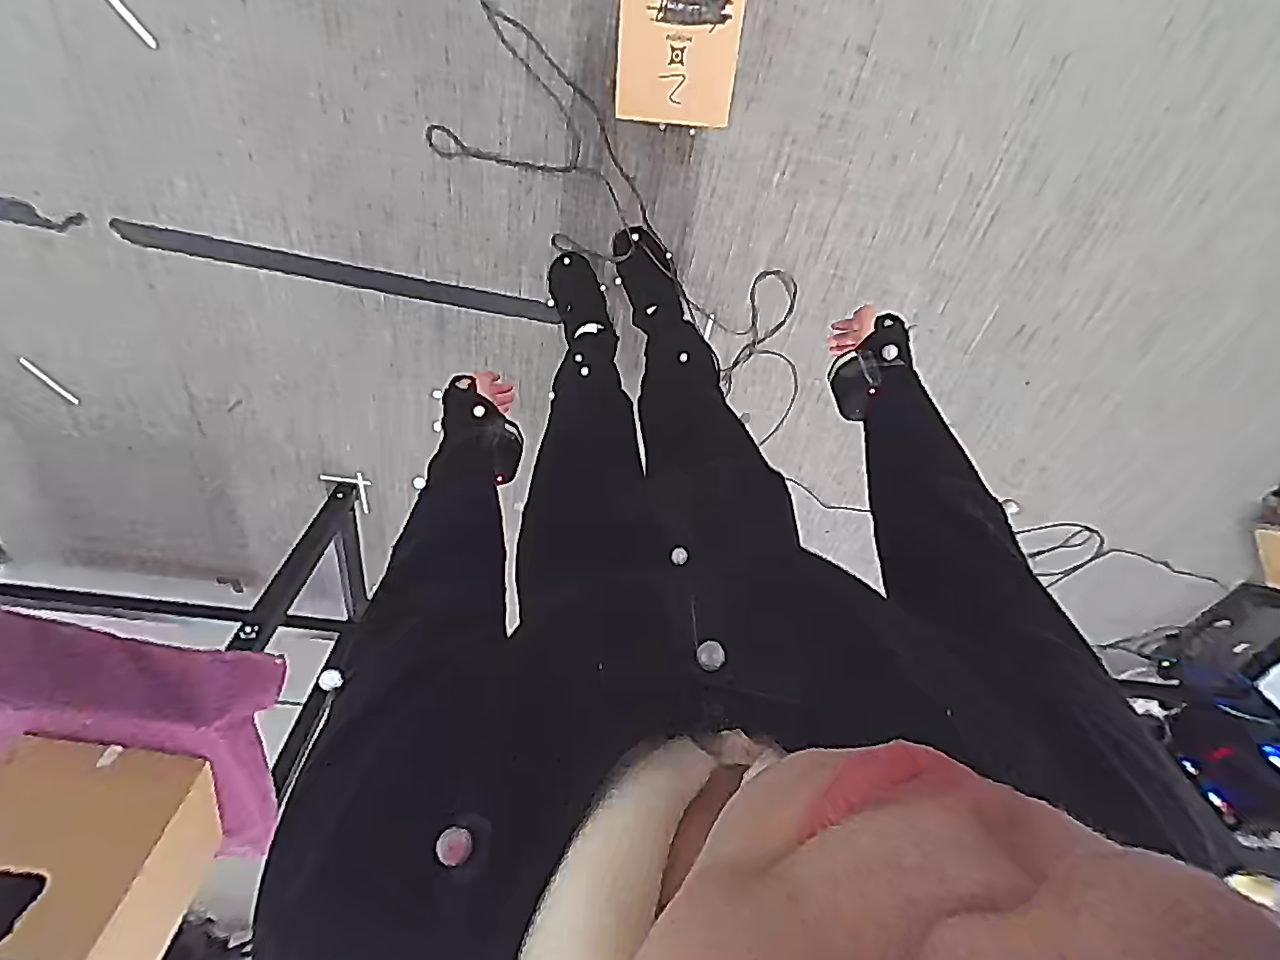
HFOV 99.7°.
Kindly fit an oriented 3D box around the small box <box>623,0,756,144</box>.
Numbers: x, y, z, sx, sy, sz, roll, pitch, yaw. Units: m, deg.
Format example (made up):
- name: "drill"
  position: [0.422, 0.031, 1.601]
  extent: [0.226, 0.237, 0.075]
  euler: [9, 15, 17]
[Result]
- name: "small box"
  position: [0.076, -0.689, 0.905]
  extent: [0.168, 0.176, 0.179]
  euler: [-5, 111, -22]
